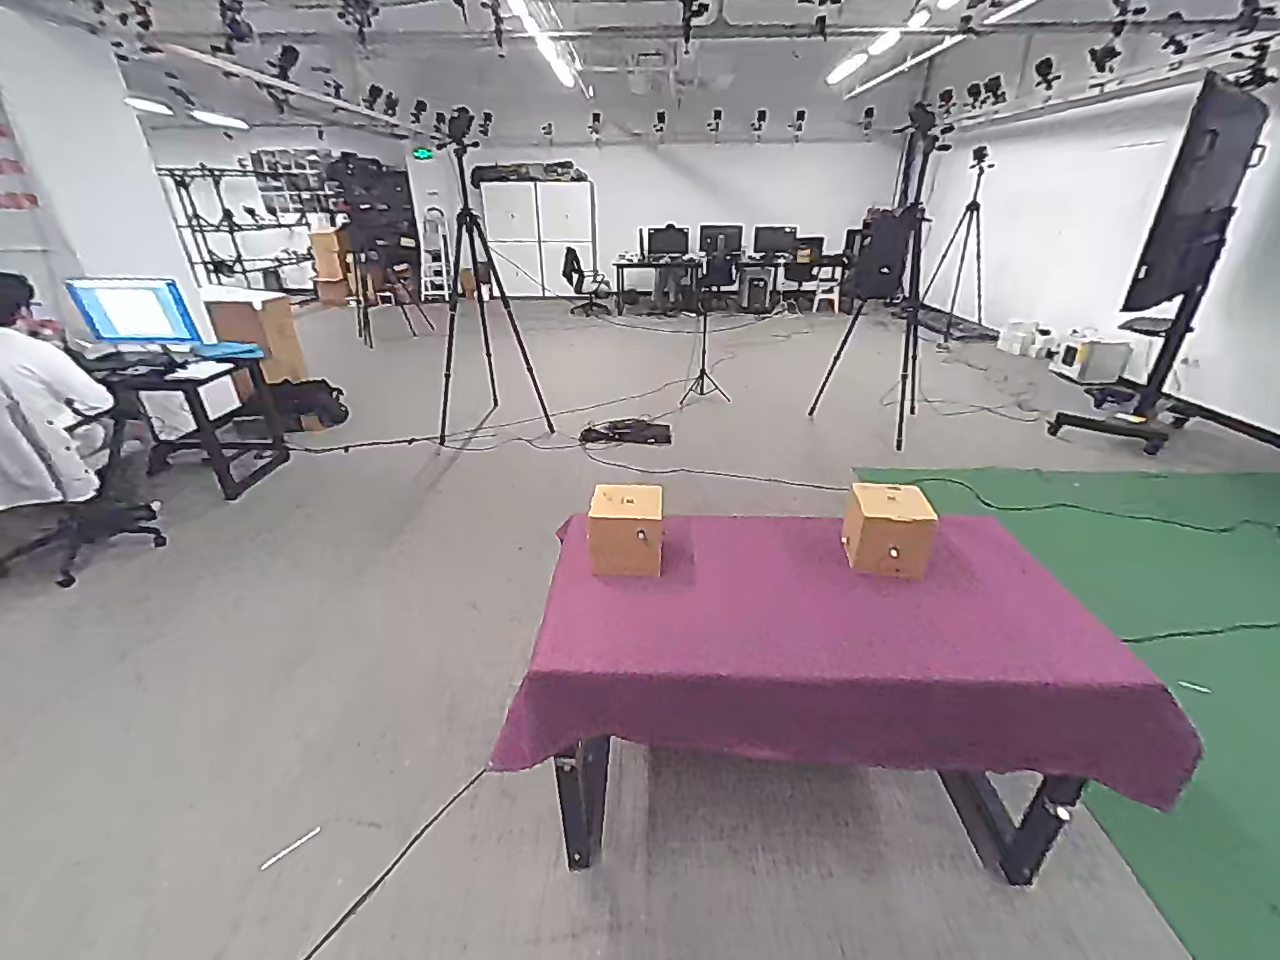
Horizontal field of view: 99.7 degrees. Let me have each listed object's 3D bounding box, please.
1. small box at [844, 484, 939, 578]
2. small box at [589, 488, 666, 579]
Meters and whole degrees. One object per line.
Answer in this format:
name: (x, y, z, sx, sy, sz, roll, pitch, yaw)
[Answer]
small box: (0.618, 0.126, 1.350, 0.168, 0.176, 0.179, 4, 28, 9)
small box: (-0.026, 0.134, 1.363, 0.179, 0.176, 0.168, 1, 27, 4)
